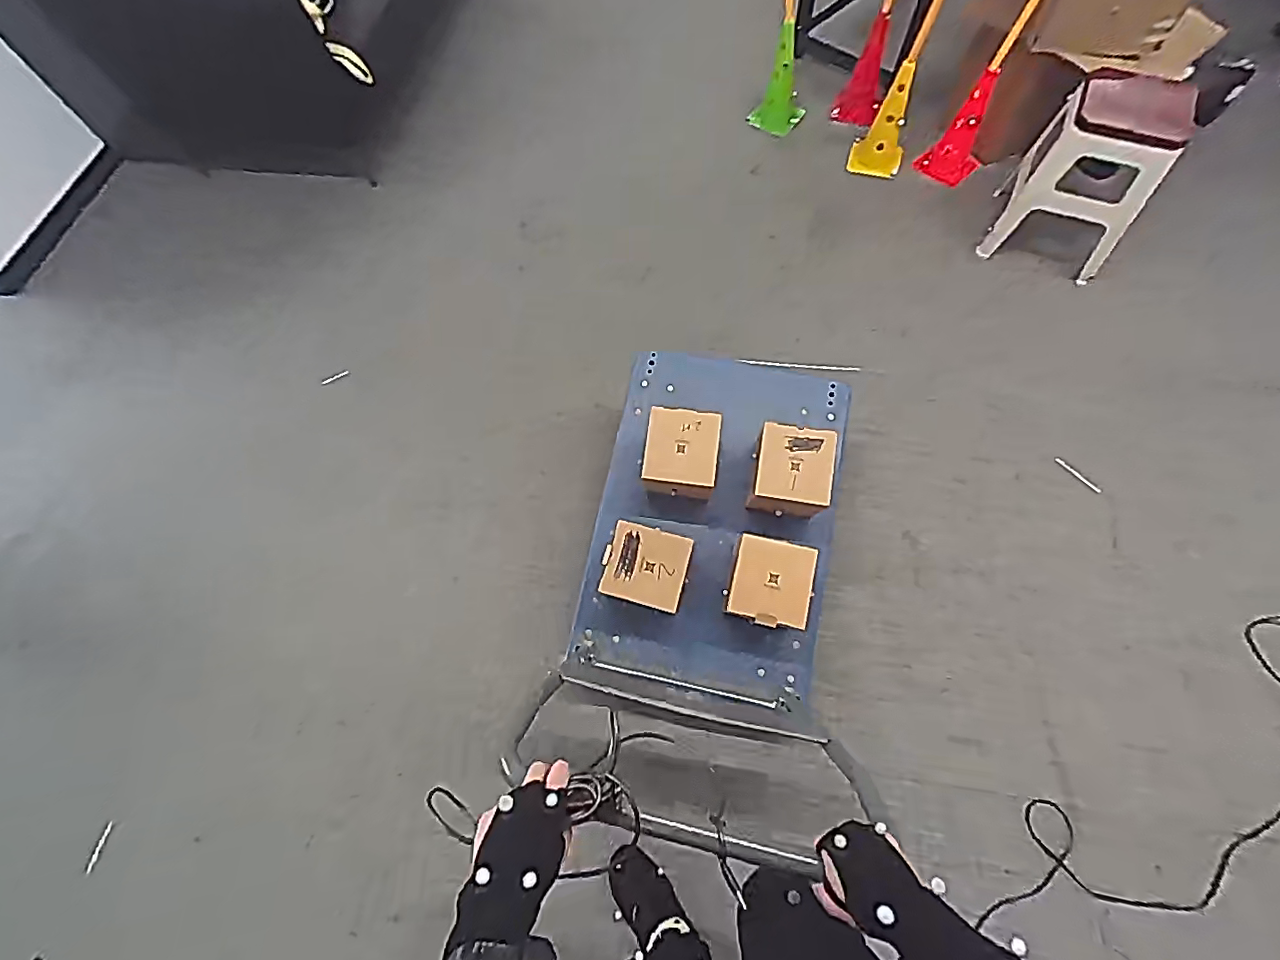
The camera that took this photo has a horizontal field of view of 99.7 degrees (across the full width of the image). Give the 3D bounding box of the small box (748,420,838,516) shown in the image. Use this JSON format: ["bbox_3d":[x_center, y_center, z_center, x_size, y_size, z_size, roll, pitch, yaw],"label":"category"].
[{"bbox_3d":[0.356,-0.024,1.281,0.168,0.176,0.179,10,79,7],"label":"small box"}]

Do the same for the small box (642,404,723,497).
[{"bbox_3d":[0.103,-0.064,1.306,0.168,0.176,0.179,8,78,5],"label":"small box"}]

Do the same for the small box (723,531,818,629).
[{"bbox_3d":[0.290,0.228,1.231,0.168,0.176,0.179,13,79,6],"label":"small box"}]
